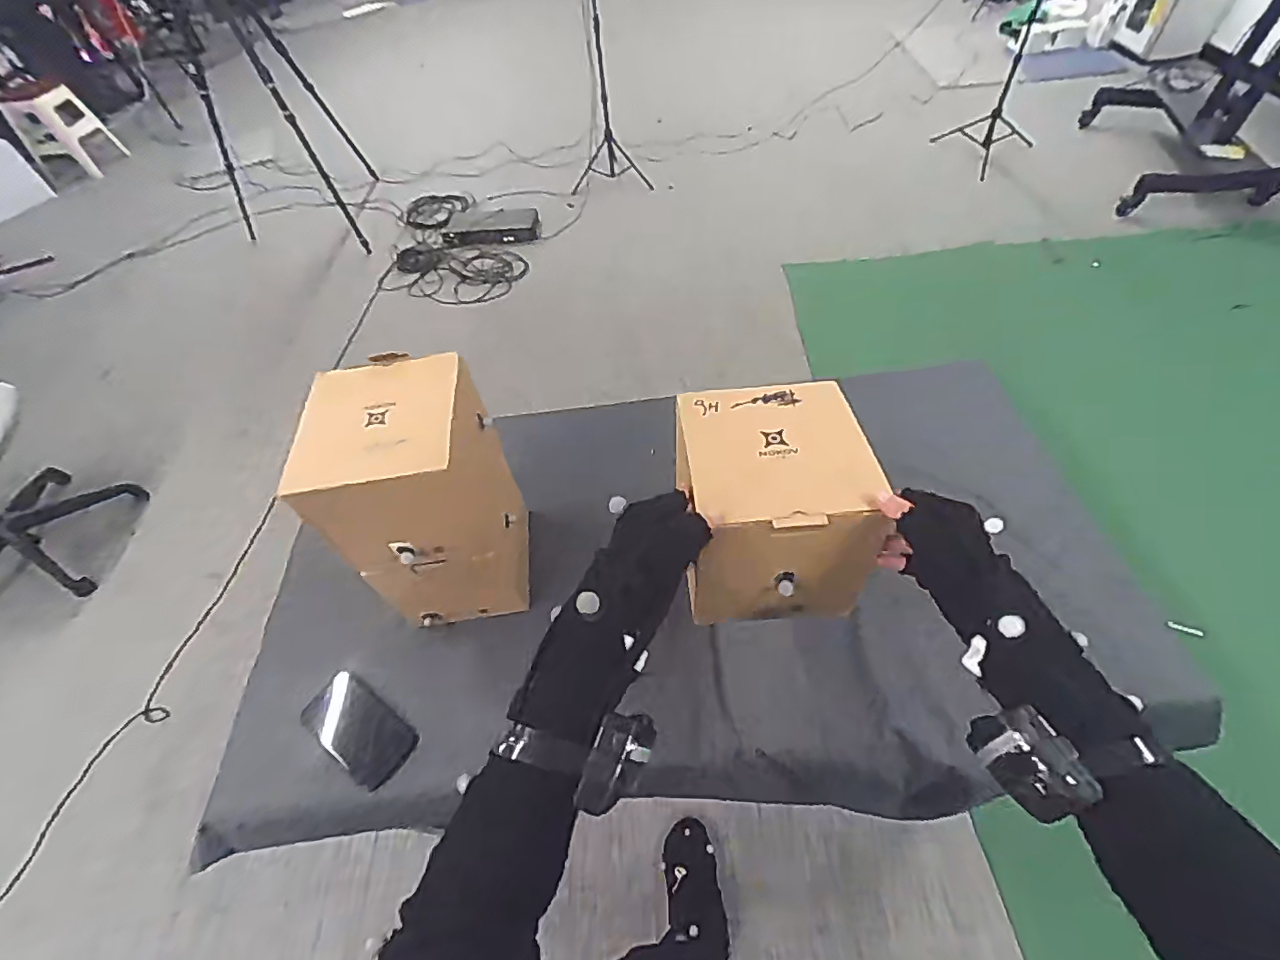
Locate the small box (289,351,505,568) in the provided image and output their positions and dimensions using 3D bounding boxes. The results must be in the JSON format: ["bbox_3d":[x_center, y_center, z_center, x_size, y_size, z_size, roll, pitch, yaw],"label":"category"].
[{"bbox_3d":[-0.261,-0.020,0.631,0.168,0.176,0.179,-9,54,-1],"label":"small box"}]

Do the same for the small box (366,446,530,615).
[{"bbox_3d":[-0.253,0.076,0.761,0.168,0.176,0.179,-8,52,-1],"label":"small box"}]

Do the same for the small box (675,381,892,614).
[{"bbox_3d":[0.127,0.024,0.553,0.168,0.176,0.179,-5,48,0],"label":"small box"}]
